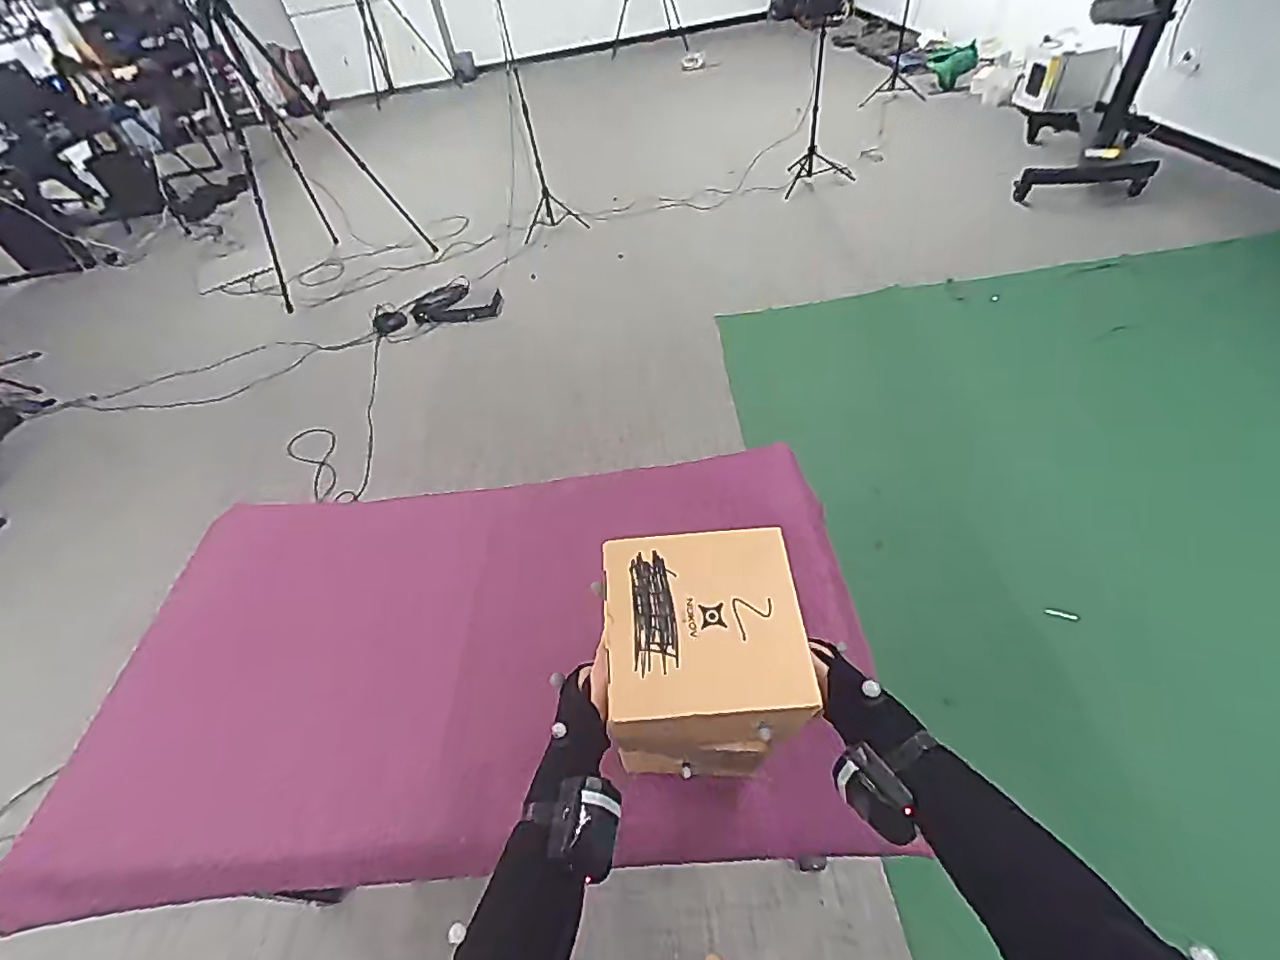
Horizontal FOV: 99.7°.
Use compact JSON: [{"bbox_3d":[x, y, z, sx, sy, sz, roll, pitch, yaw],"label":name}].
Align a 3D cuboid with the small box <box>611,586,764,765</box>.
[{"bbox_3d":[0.058,0.251,0.684,0.168,0.176,0.179,1,54,3],"label":"small box"}]
